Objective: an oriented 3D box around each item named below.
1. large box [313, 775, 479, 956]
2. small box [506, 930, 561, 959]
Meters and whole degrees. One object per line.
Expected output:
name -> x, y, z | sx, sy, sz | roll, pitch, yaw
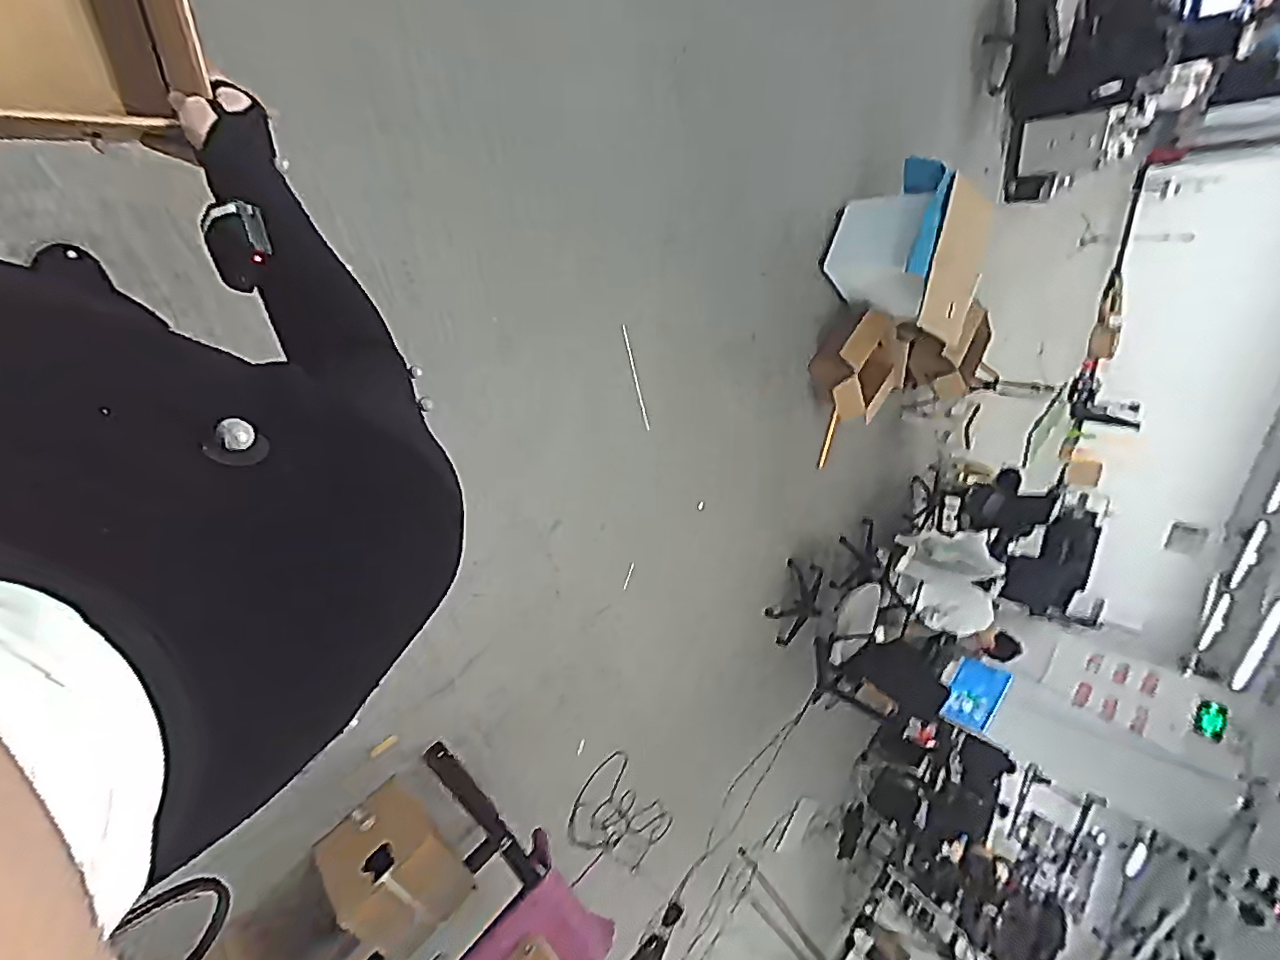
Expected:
large box -> -0.838, 1.324, 1.875 | 0.320, 0.320, 0.408 | -38, 130, -29
small box -> -0.285, 1.397, 1.487 | 0.168, 0.176, 0.179 | -37, 130, -29
